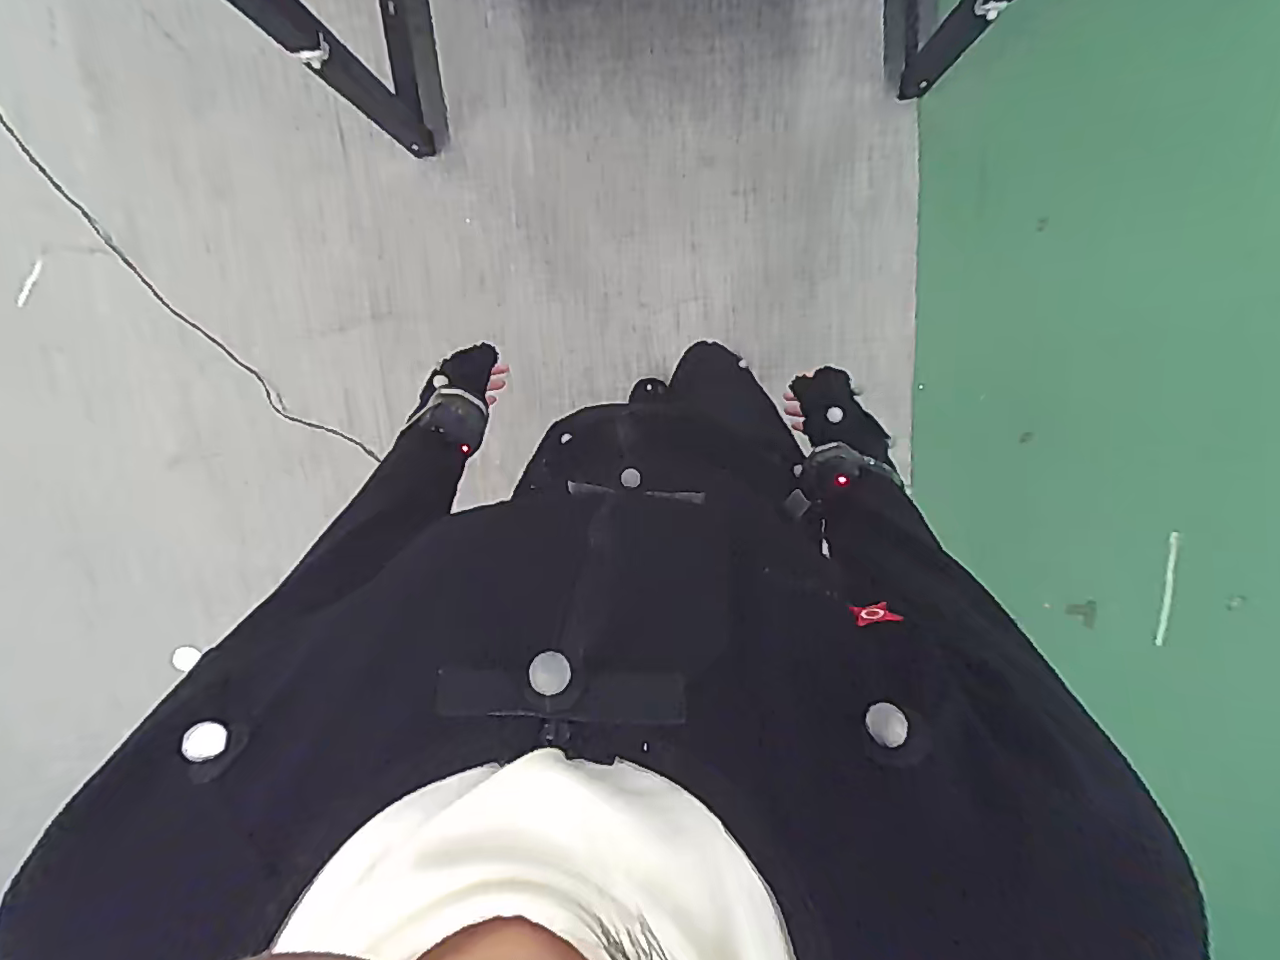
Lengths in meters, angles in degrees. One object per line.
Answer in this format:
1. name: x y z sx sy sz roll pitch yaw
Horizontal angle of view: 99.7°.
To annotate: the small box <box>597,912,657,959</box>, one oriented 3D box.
1. small box: -0.037 1.436 1.618 0.168 0.176 0.179 -6 103 4
